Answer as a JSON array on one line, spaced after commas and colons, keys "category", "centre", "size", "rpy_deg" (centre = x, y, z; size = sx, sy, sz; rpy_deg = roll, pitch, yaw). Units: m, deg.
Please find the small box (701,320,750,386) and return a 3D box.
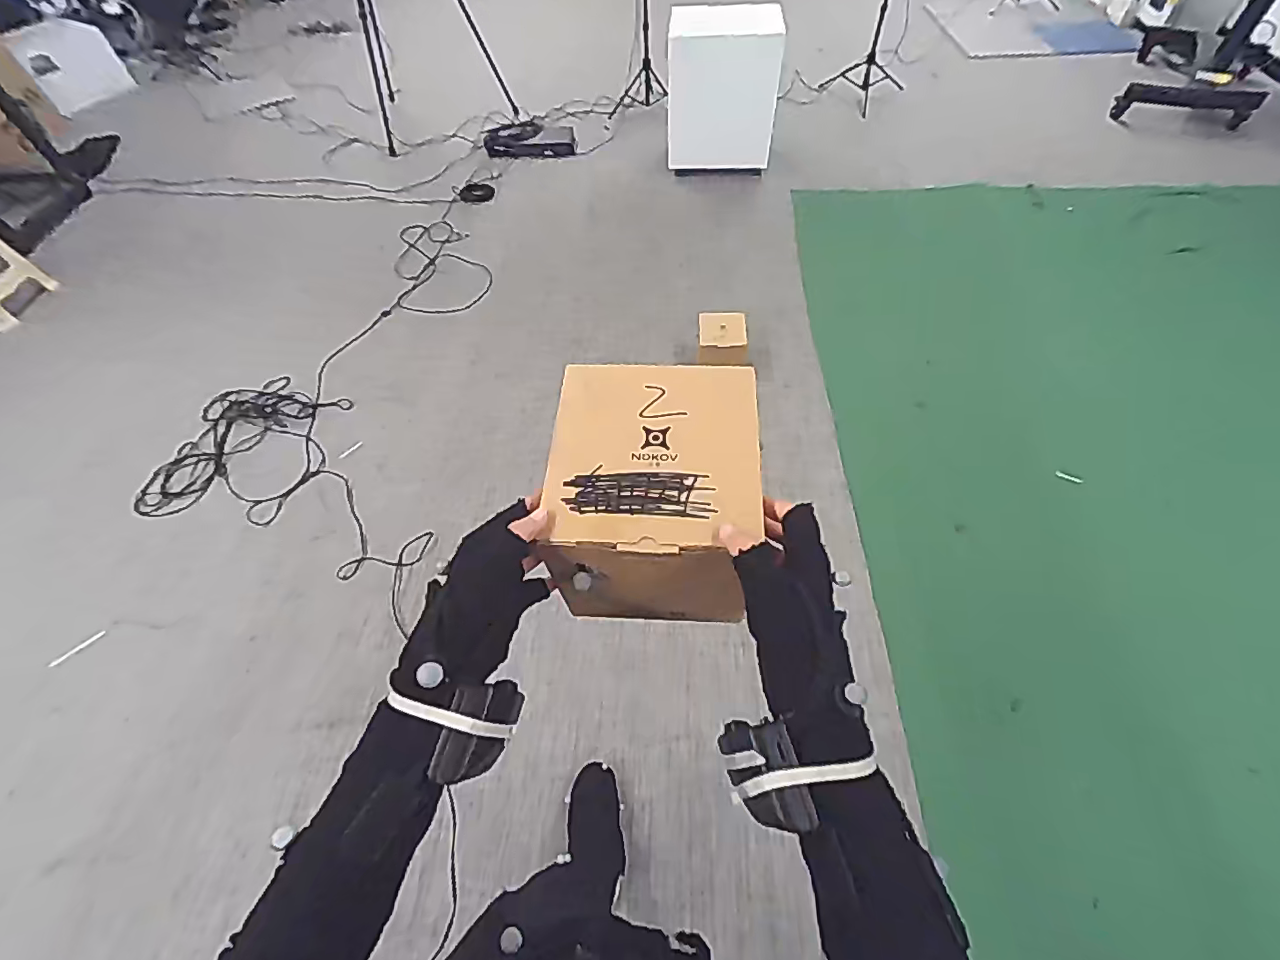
[{"category": "small box", "centre": [0.310, -0.469, 1.996], "size": [0.168, 0.176, 0.179], "rpy_deg": [1, 56, 4]}]
